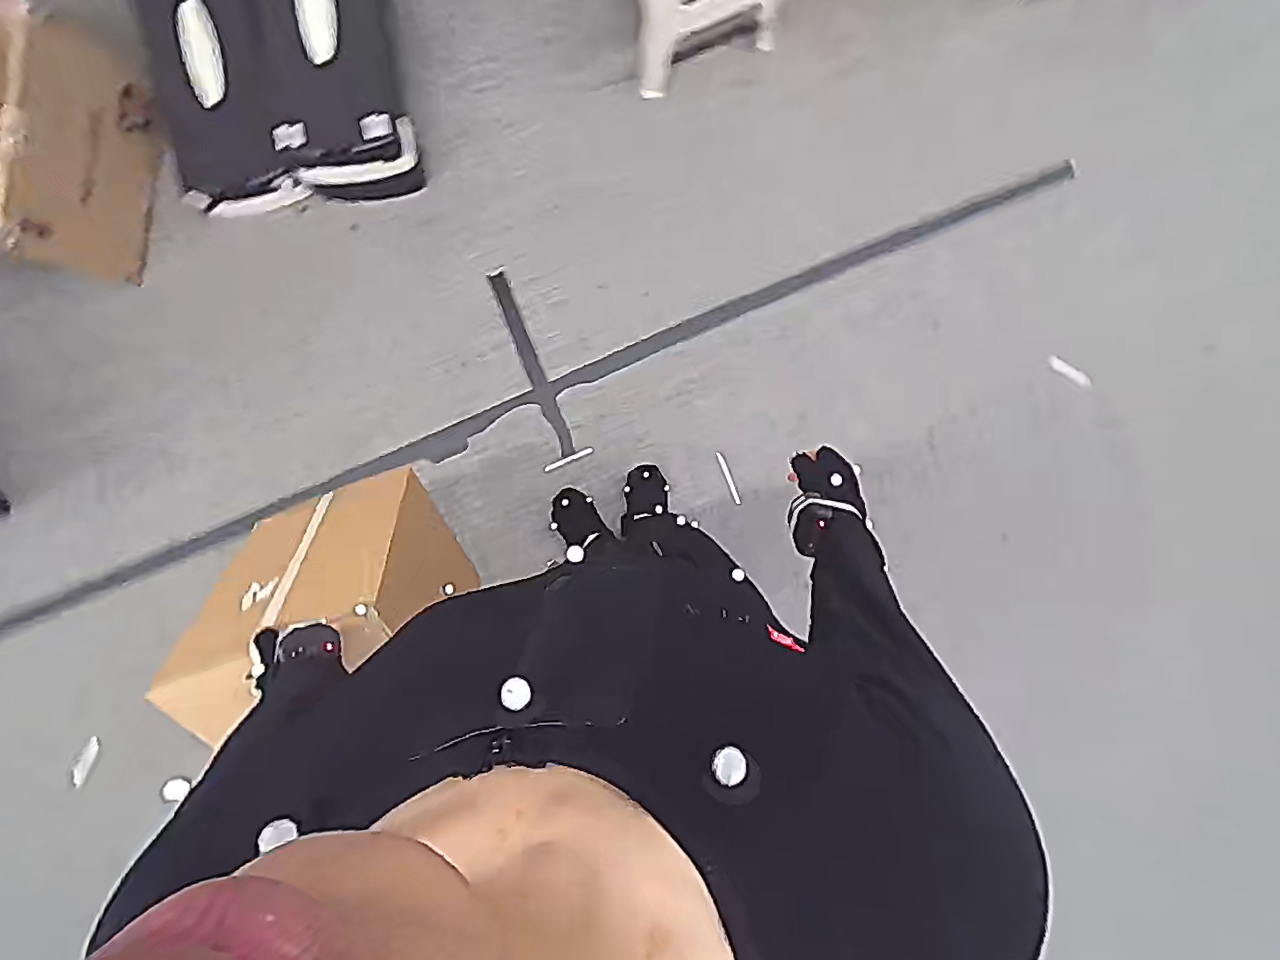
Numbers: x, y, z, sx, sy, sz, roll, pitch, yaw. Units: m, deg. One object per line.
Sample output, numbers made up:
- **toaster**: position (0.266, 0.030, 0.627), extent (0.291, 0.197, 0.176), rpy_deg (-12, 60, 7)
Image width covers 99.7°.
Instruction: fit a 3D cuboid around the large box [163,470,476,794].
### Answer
- **large box**: position (-0.500, 0.245, 0.966), extent (0.320, 0.408, 0.320), rpy_deg (-21, 123, -3)
